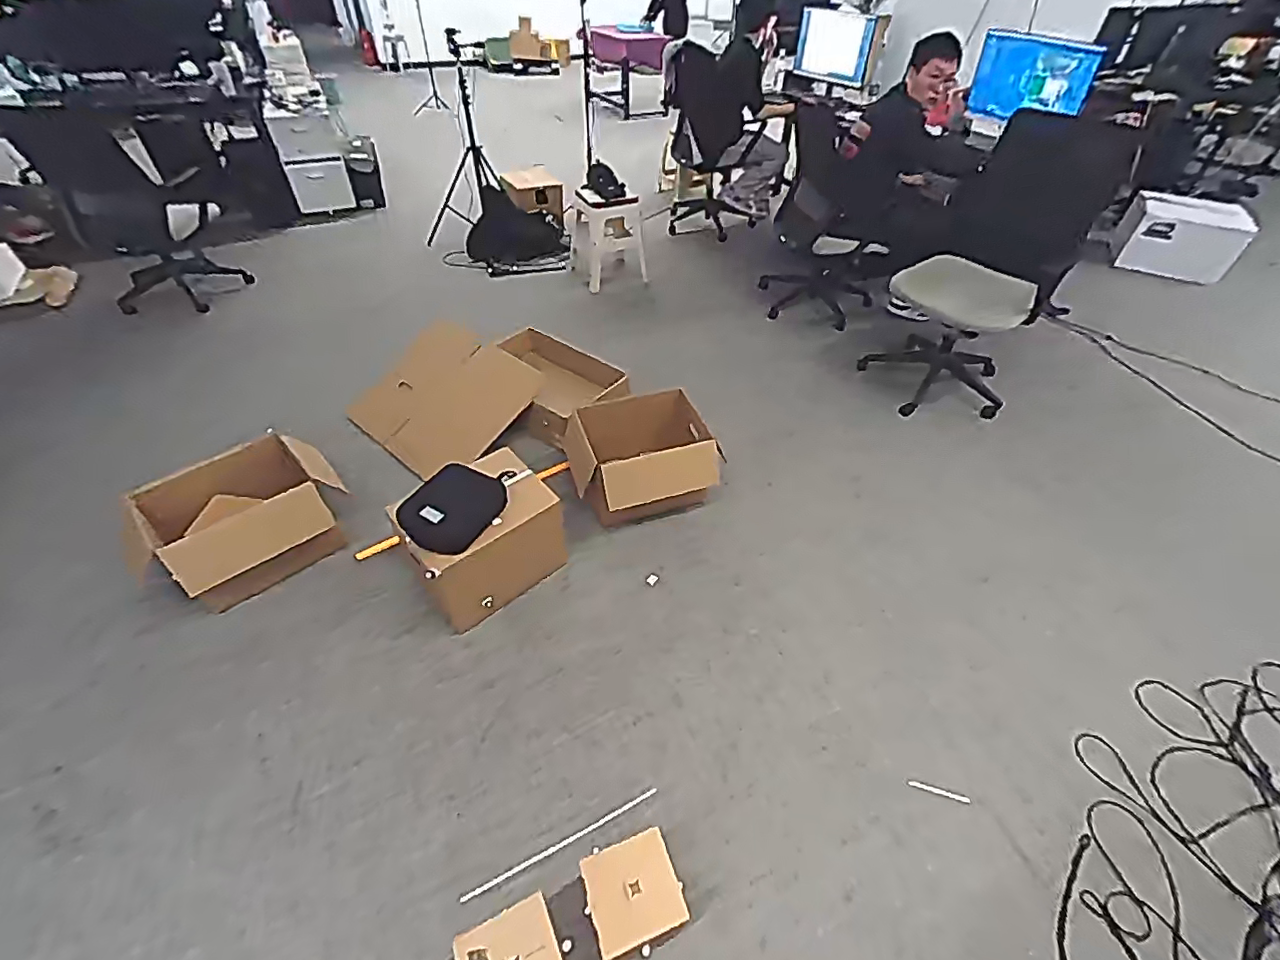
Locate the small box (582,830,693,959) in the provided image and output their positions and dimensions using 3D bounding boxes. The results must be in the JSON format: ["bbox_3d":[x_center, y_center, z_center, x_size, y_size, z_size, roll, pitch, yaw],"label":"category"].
[{"bbox_3d":[-0.009,0.854,1.102,0.179,0.176,0.168,-16,47,-15],"label":"small box"}]

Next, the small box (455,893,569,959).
[{"bbox_3d":[-0.228,0.932,1.021,0.179,0.176,0.168,-19,48,-20],"label":"small box"}]
